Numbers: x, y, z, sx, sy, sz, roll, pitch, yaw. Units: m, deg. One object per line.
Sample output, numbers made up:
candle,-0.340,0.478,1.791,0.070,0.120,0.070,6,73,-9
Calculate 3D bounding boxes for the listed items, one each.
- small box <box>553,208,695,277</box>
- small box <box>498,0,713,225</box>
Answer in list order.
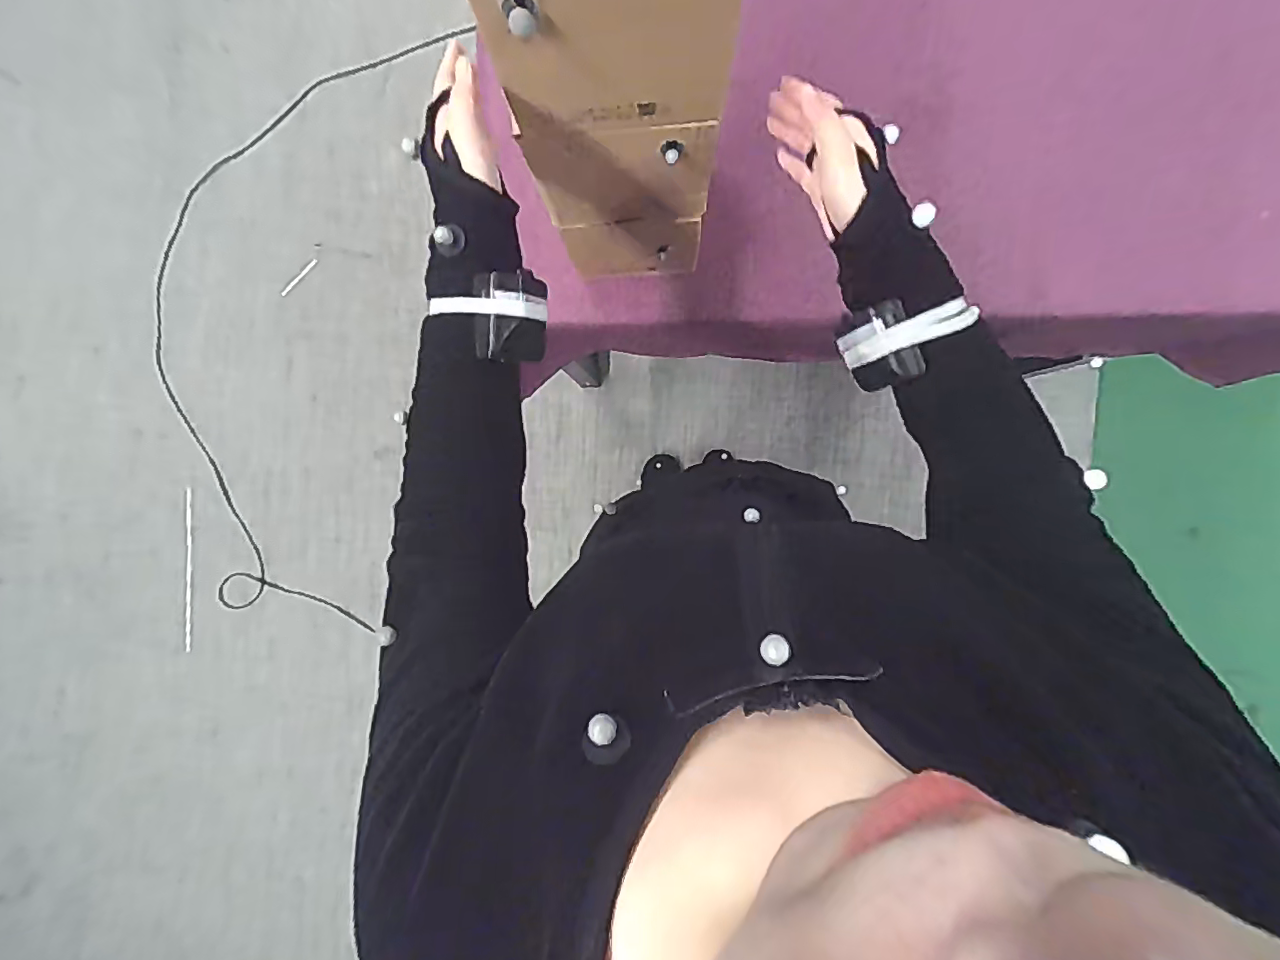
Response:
small box,-0.017,-0.371,0.691,0.168,0.176,0.179,-2,90,1
small box,-0.027,-0.368,0.529,0.179,0.176,0.168,-4,90,1
